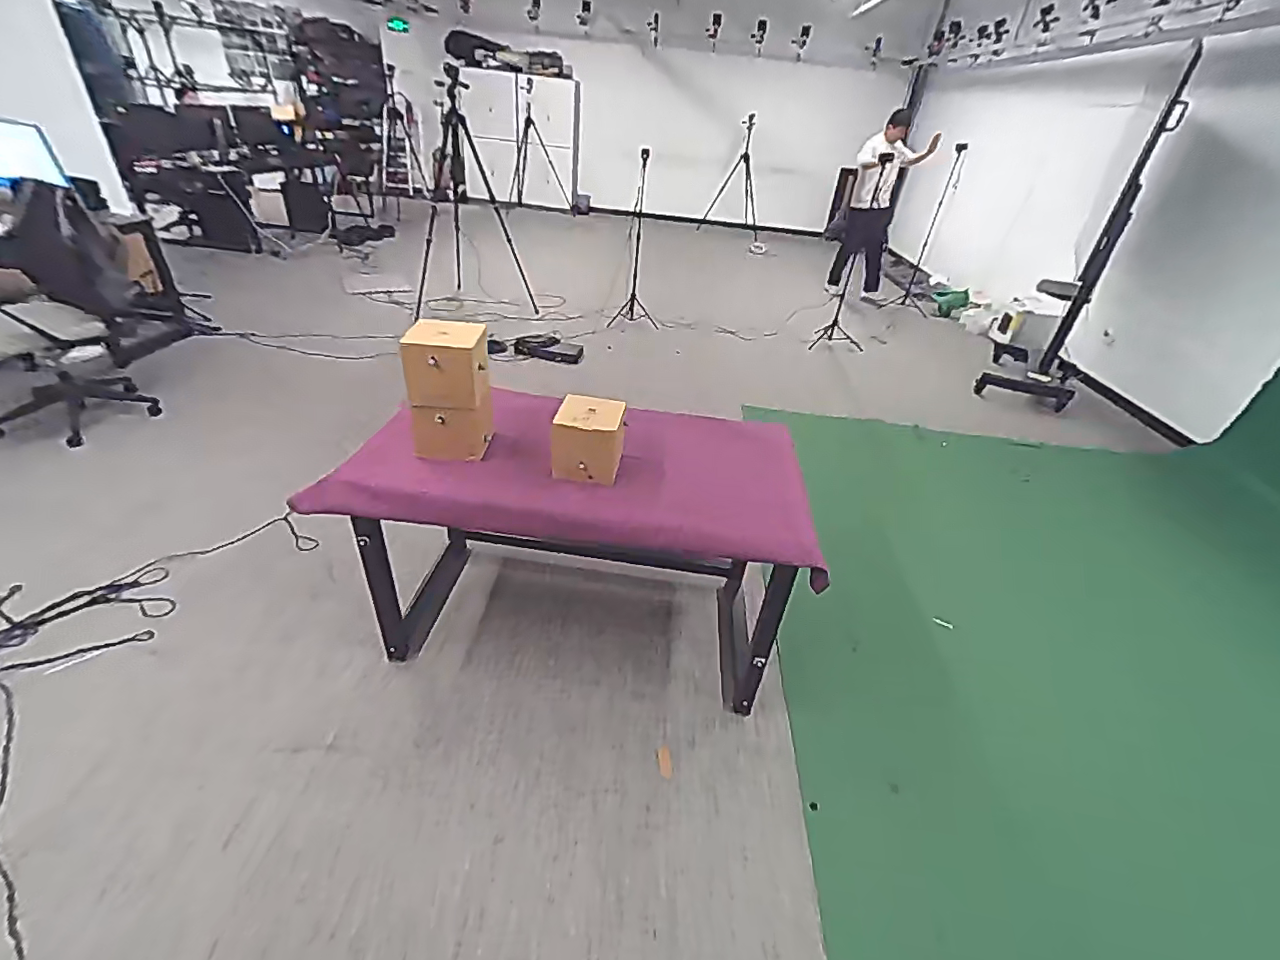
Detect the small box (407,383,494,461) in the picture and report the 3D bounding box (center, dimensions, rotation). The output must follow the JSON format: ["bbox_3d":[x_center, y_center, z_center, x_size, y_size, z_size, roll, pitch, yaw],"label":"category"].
[{"bbox_3d":[-0.507,-0.166,1.473,0.179,0.176,0.168,6,35,-2],"label":"small box"}]

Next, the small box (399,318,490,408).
[{"bbox_3d":[-0.487,-0.295,1.378,0.179,0.176,0.168,4,35,-3],"label":"small box"}]

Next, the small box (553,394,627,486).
[{"bbox_3d":[-0.135,-0.109,1.451,0.168,0.176,0.179,9,34,3],"label":"small box"}]
